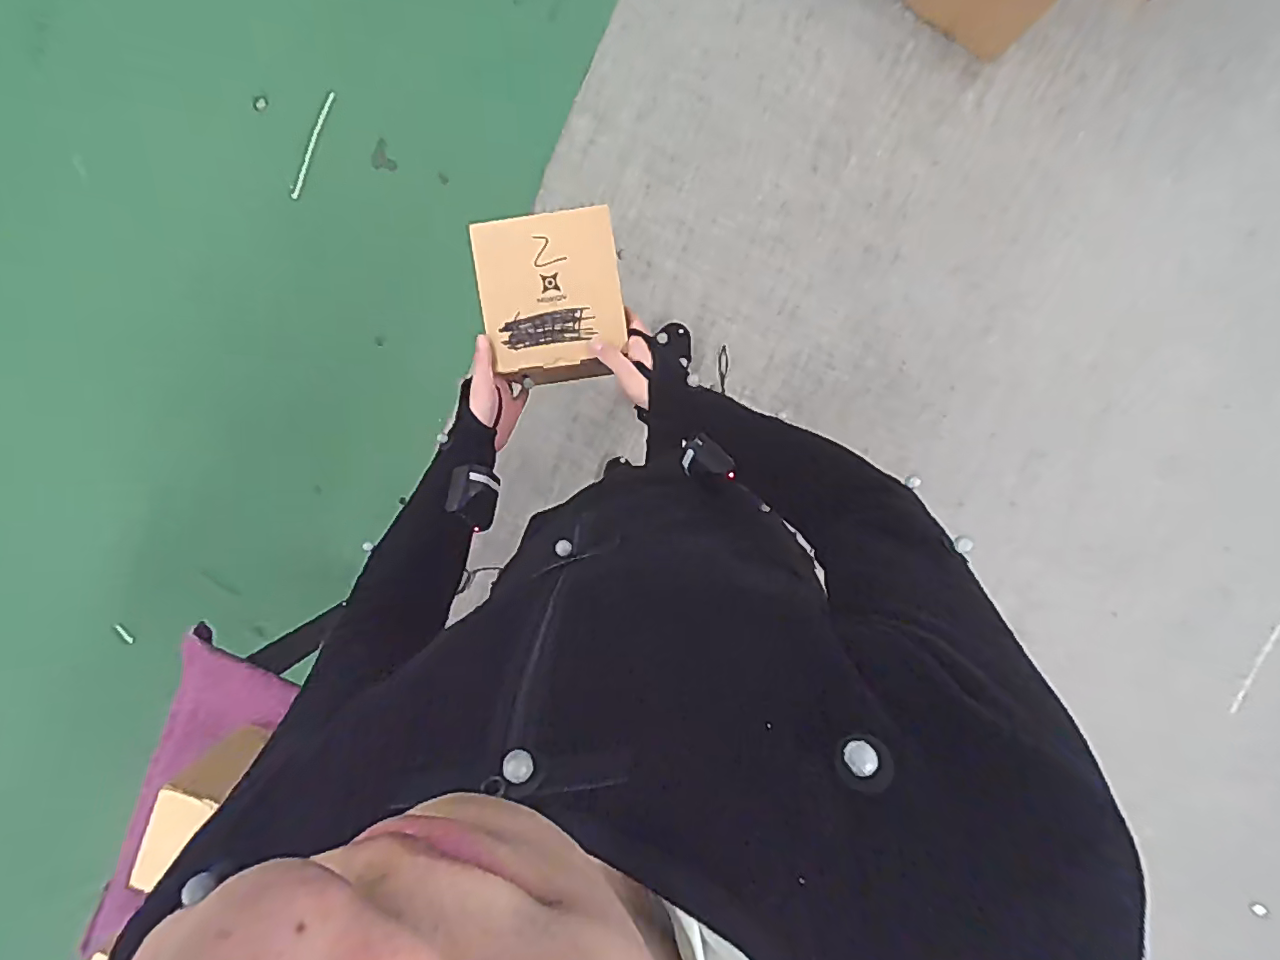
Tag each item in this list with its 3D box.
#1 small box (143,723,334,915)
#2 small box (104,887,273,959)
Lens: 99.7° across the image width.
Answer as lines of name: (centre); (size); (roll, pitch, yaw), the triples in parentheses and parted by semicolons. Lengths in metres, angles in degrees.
small box: (-0.640, 0.542, 0.885); (0.168, 0.176, 0.179); (23, 97, -4)
small box: (-0.776, 0.813, 0.923); (0.168, 0.176, 0.179); (25, 97, -3)
